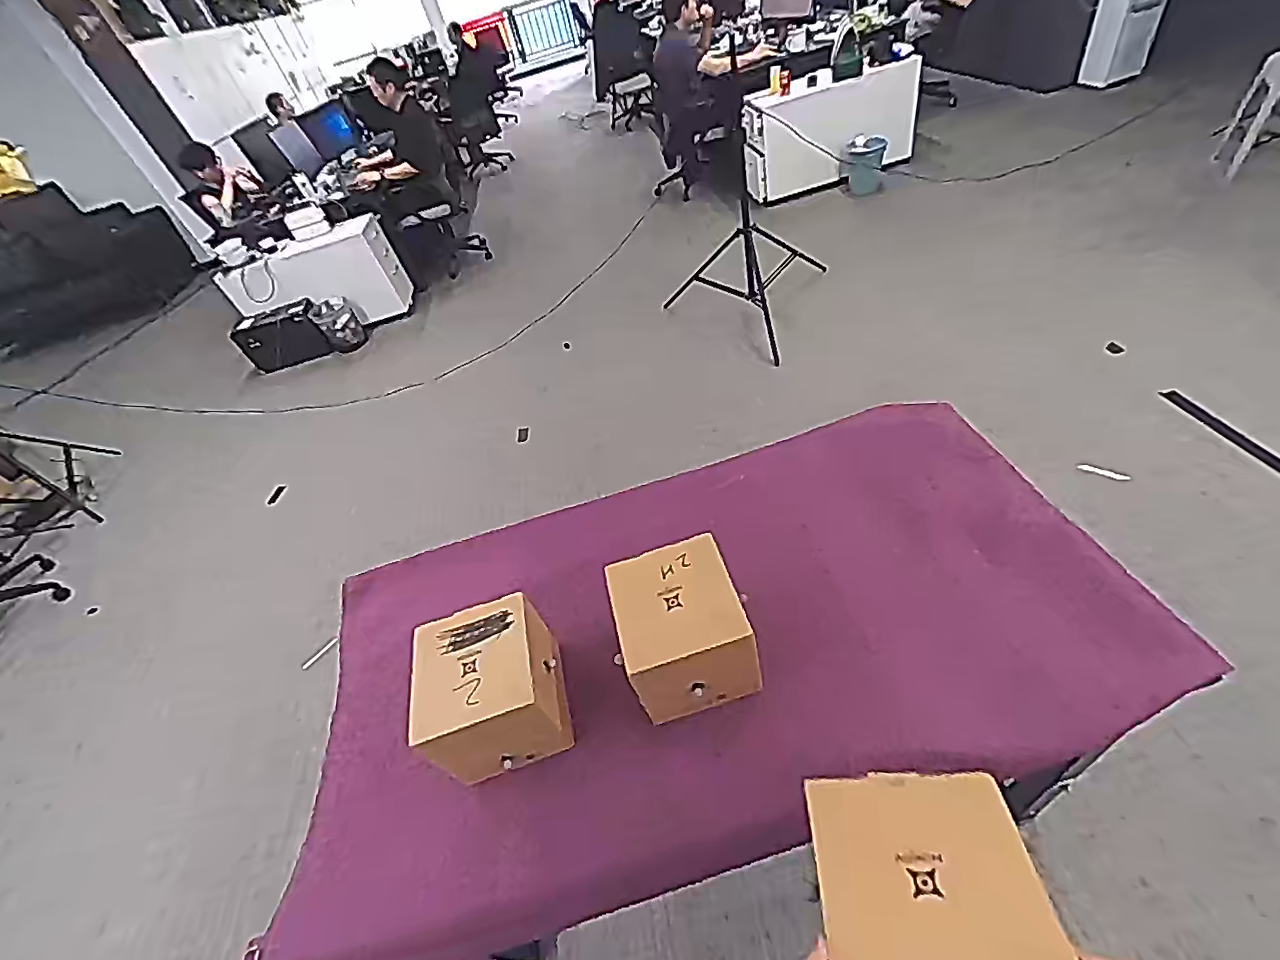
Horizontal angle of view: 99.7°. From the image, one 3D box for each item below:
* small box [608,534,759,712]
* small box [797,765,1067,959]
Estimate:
[{"bbox_3d":[0.064,0.214,0.784,0.168,0.176,0.179,-17,43,0],"label":"small box"},{"bbox_3d":[0.240,0.381,0.465,0.168,0.176,0.179,-10,24,14],"label":"small box"}]
